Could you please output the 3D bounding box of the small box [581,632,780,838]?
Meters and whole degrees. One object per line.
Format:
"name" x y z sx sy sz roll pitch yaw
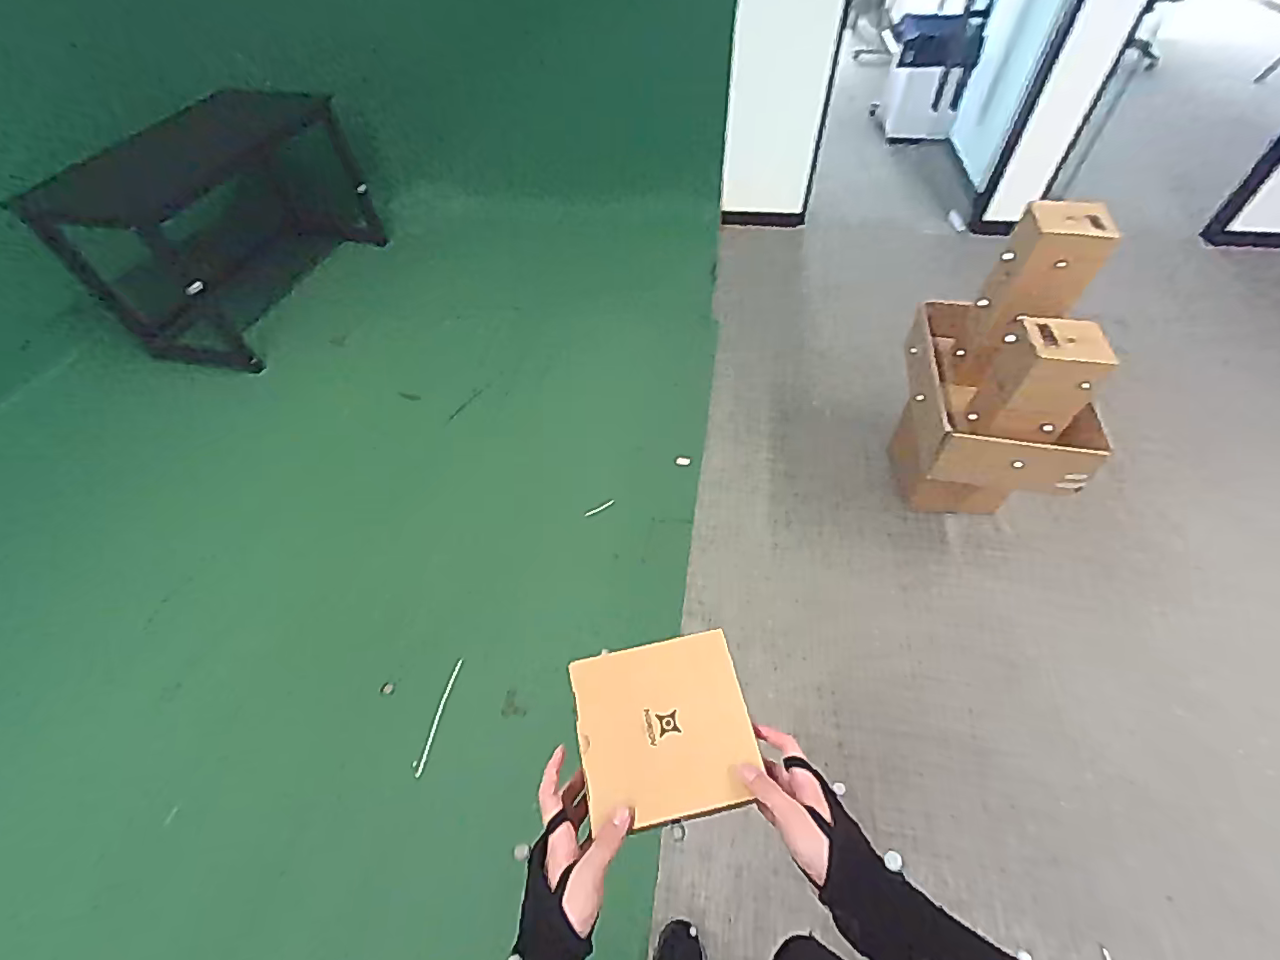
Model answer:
"small box" 0.037 0.290 0.613 0.179 0.176 0.168 -11 57 -4

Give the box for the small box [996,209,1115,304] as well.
"small box" 1.077 -0.582 1.417 0.179 0.176 0.168 9 54 9

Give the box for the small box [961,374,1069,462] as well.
"small box" 1.033 -0.169 1.506 0.179 0.176 0.168 8 51 7

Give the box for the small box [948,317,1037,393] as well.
"small box" 1.078 -0.379 1.676 0.179 0.176 0.168 12 54 9

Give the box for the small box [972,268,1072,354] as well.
"small box" 1.078 -0.481 1.548 0.179 0.176 0.168 10 54 10
